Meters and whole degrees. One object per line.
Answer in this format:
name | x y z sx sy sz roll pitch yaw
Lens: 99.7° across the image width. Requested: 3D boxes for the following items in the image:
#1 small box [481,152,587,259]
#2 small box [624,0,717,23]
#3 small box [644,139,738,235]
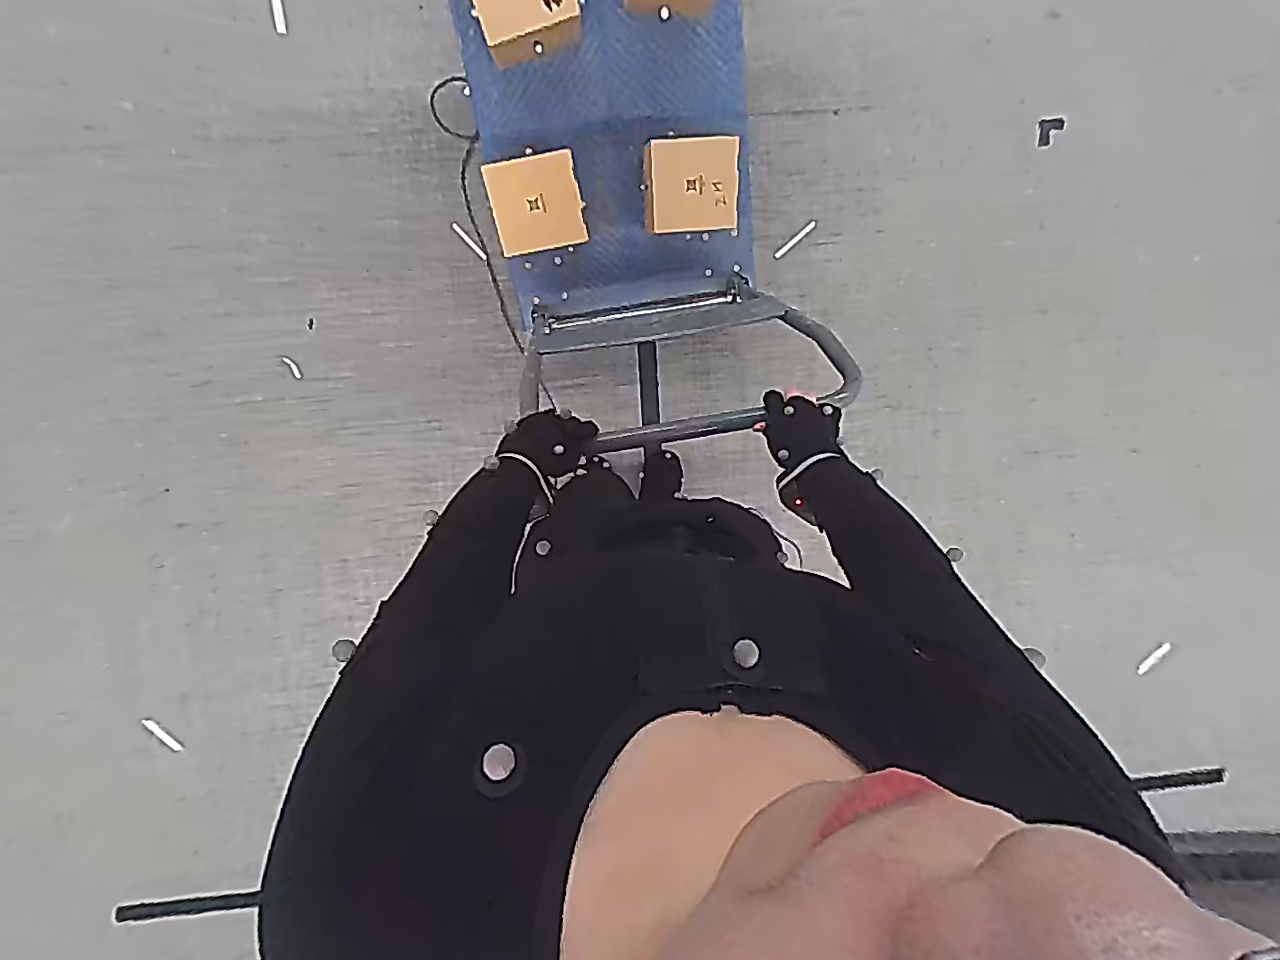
small box | -0.213 -0.566 1.131 0.179 0.176 0.168 -13 116 -2
small box | 0.060 -0.969 0.976 0.168 0.176 0.179 0 116 -7
small box | 0.101 -0.613 1.146 0.179 0.176 0.168 -5 116 -4
